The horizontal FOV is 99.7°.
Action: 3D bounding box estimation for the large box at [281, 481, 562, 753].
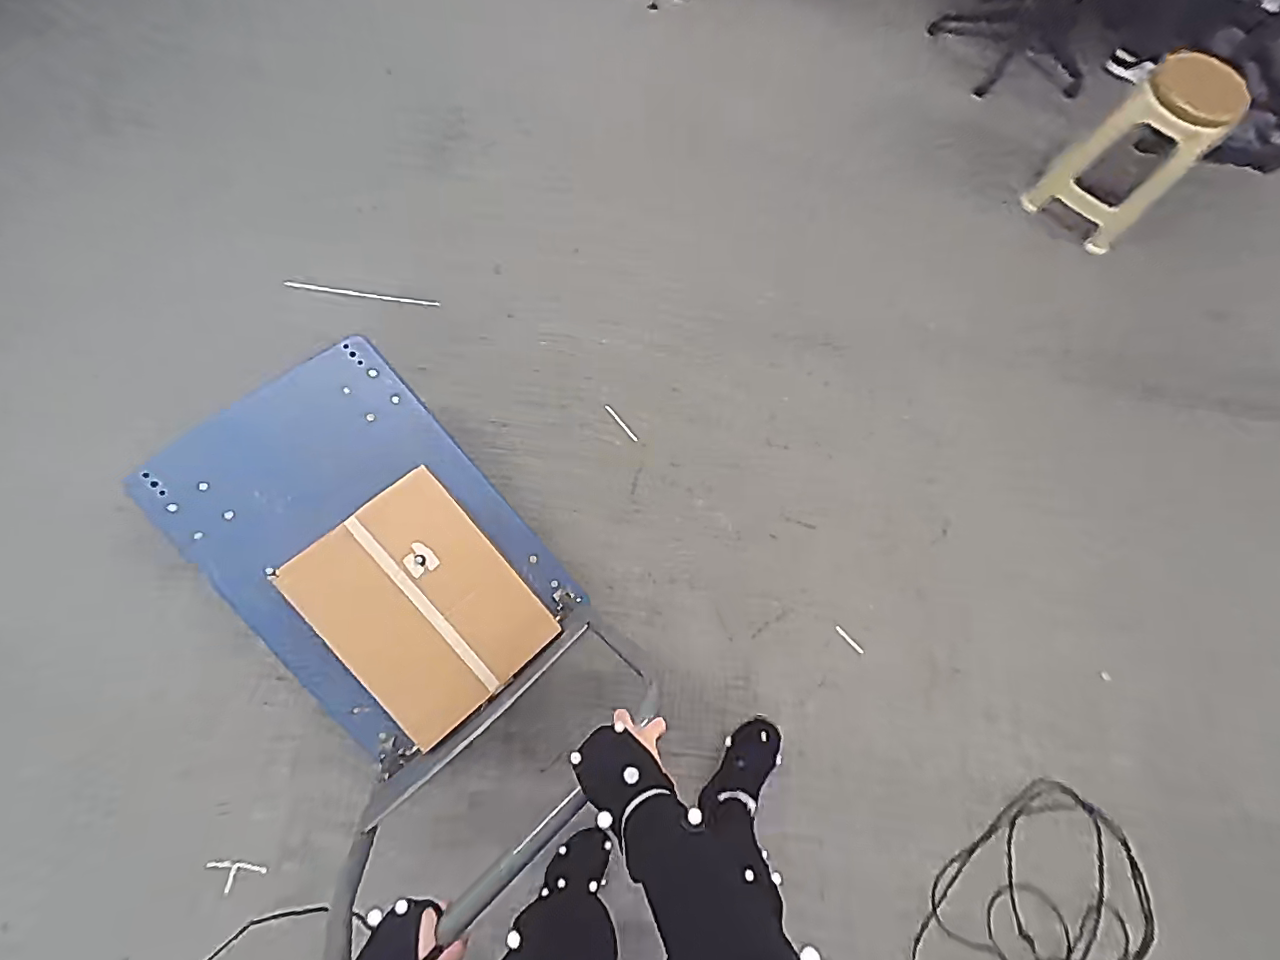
[{"bbox_3d":[-0.416,0.263,1.126,0.320,0.320,0.408,-41,93,-16],"label":"large box"}]
